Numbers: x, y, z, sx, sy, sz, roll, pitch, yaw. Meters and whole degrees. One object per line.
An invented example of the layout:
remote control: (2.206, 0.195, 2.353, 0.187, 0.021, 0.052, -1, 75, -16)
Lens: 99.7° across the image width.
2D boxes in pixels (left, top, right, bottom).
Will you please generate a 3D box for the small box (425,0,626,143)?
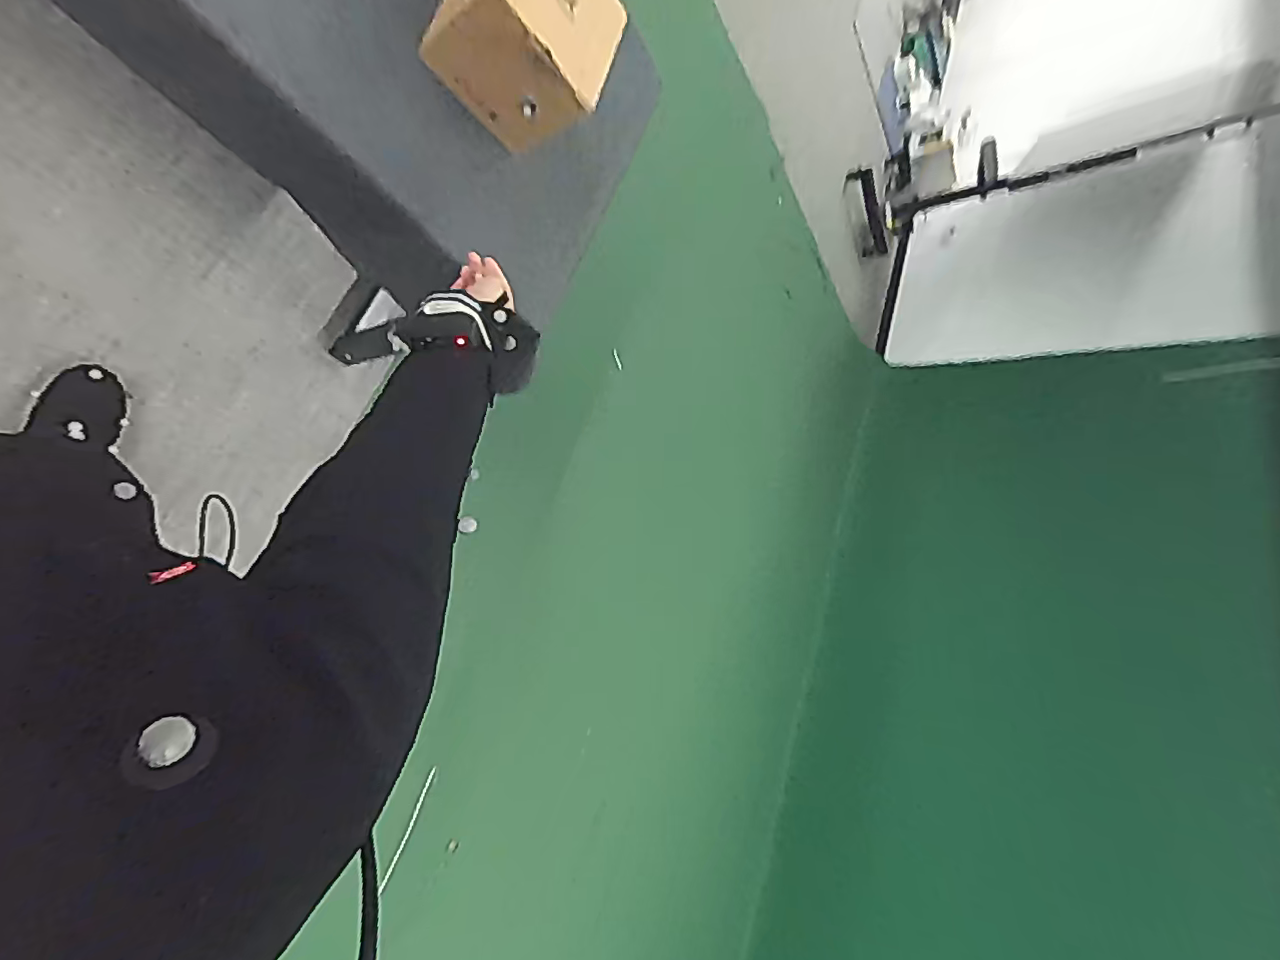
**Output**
small box: (-0.149, -0.586, 0.700, 0.168, 0.176, 0.179, 31, 68, -48)
